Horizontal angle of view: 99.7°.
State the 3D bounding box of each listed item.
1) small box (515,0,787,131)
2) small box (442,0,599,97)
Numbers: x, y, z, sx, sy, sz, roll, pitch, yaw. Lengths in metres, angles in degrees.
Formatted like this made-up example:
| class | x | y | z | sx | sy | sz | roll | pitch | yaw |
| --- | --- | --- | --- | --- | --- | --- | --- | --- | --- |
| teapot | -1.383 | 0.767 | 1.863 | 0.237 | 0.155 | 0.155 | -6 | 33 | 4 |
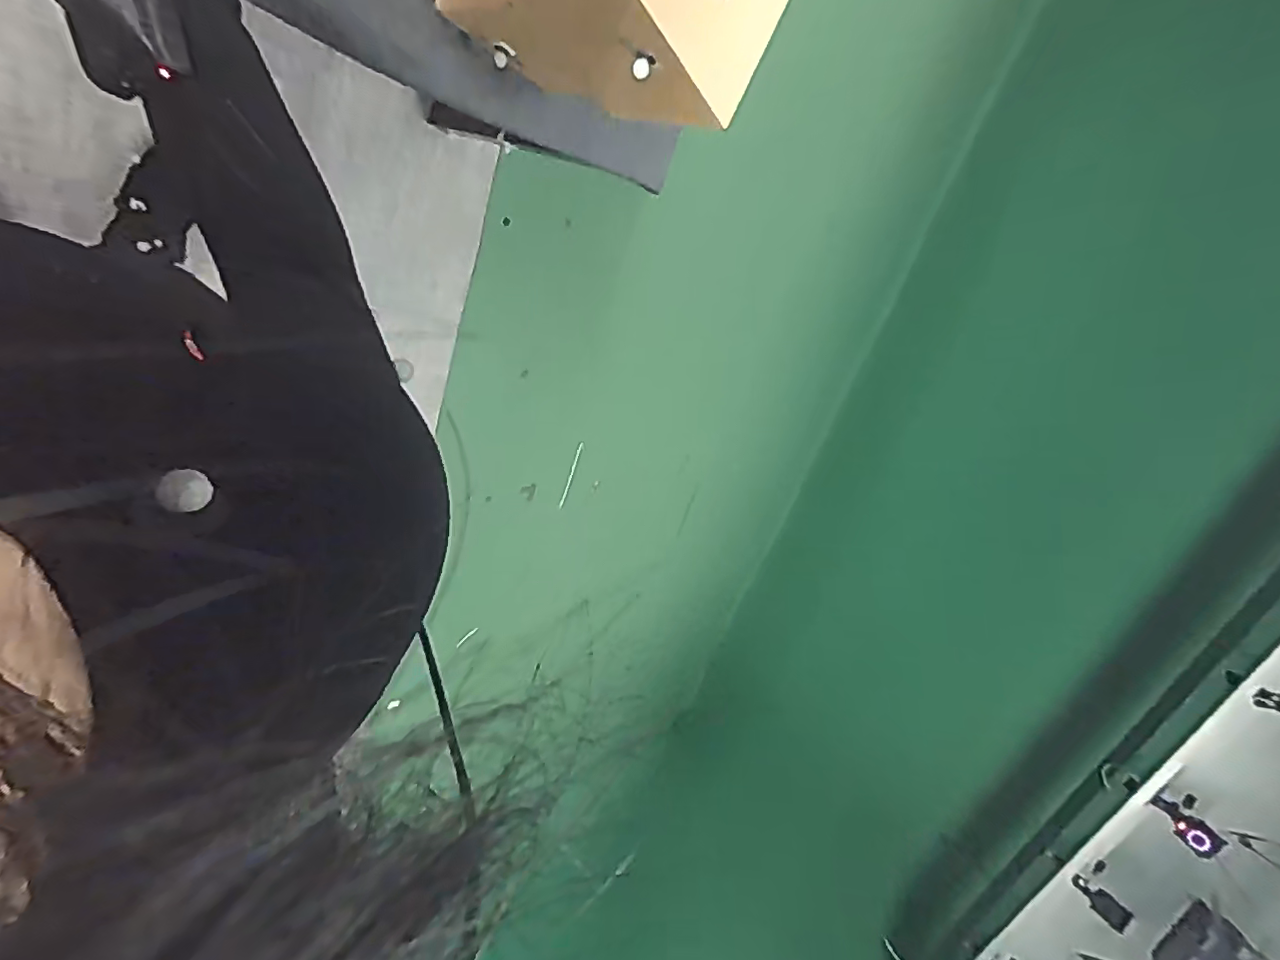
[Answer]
| class | x | y | z | sx | sy | sz | roll | pitch | yaw |
| --- | --- | --- | --- | --- | --- | --- | --- | --- | --- |
| small box | 0.015 | -0.468 | 0.503 | 0.179 | 0.176 | 0.168 | 14 | 106 | -53 |
| small box | -0.092 | -0.556 | 0.589 | 0.168 | 0.176 | 0.179 | -2 | 119 | -50 |
